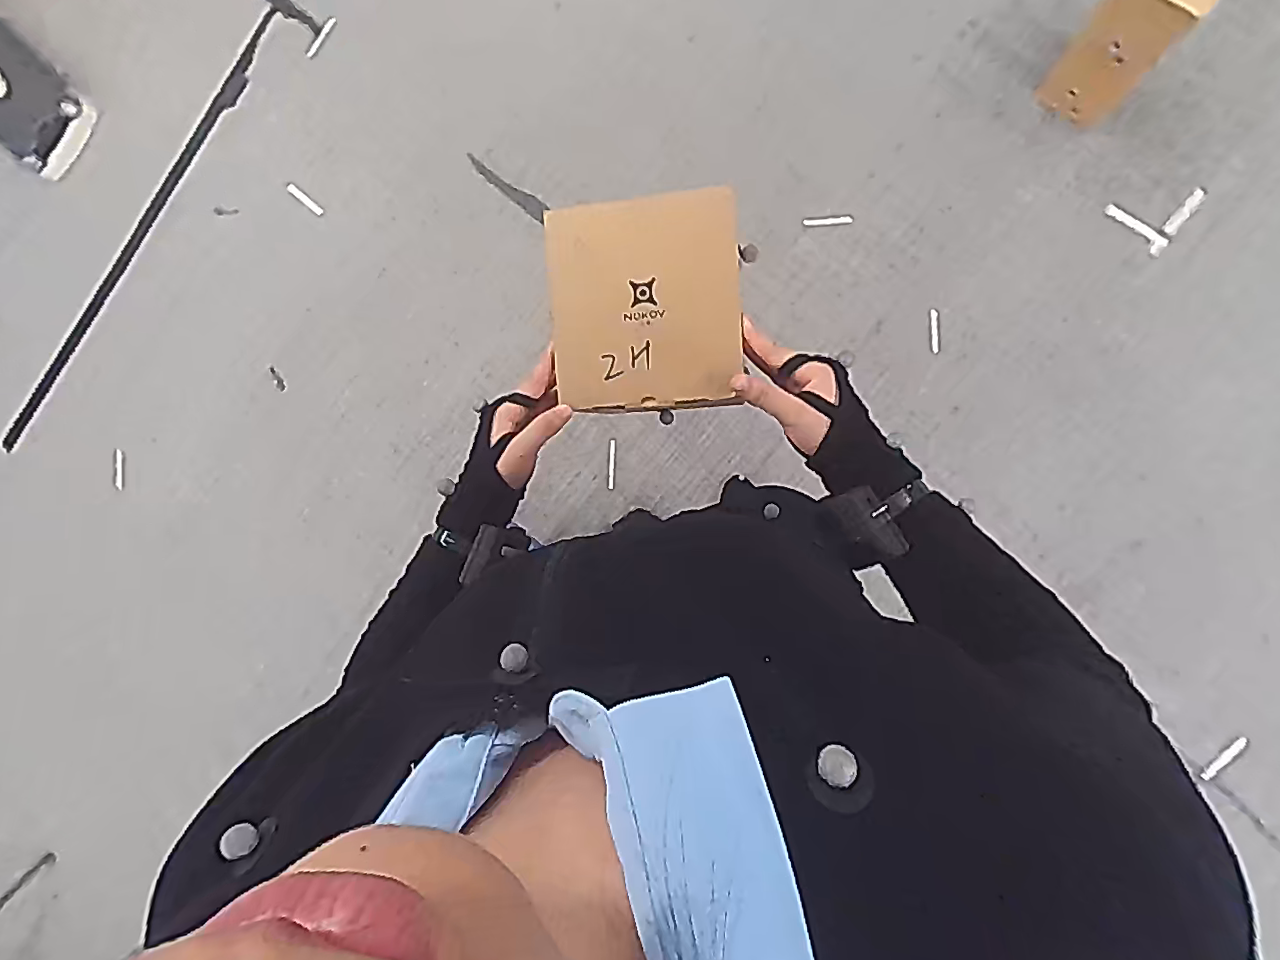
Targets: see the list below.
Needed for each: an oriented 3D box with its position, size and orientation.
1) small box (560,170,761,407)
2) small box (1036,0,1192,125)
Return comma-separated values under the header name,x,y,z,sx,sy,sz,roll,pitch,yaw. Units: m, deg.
name,x,y,z,sx,sy,sz,roll,pitch,yaw
small box,0.029,-0.166,0.529,0.168,0.176,0.179,-2,96,11
small box,1.072,-0.979,1.243,0.168,0.176,0.179,38,96,7
